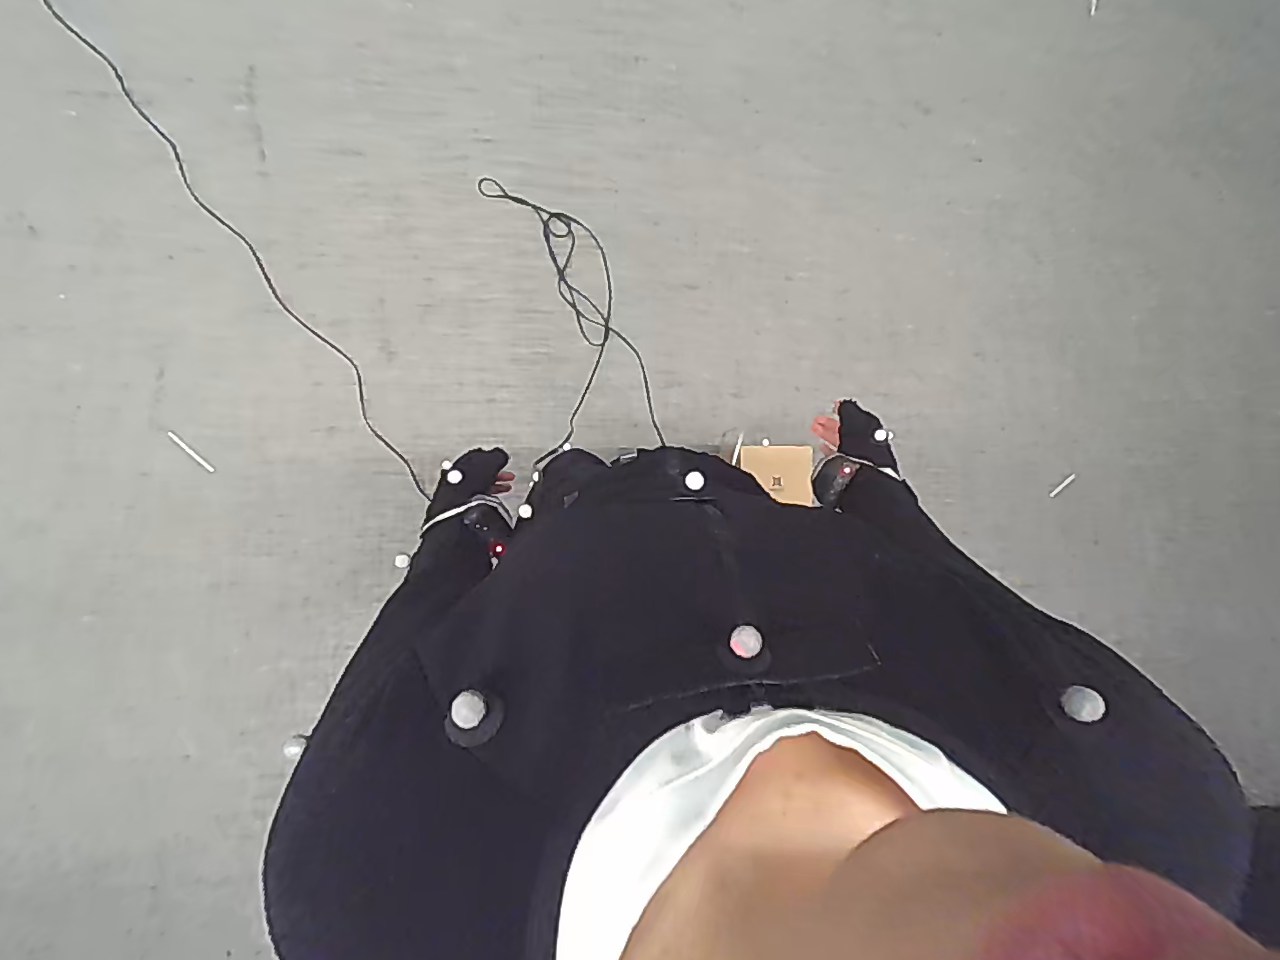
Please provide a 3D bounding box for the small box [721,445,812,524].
[{"bbox_3d":[0.291,0.009,1.270,0.168,0.176,0.179,0,92,-6],"label":"small box"}]

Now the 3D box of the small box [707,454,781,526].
[{"bbox_3d":[0.277,0.022,1.434,0.168,0.176,0.179,3,92,-7],"label":"small box"}]
